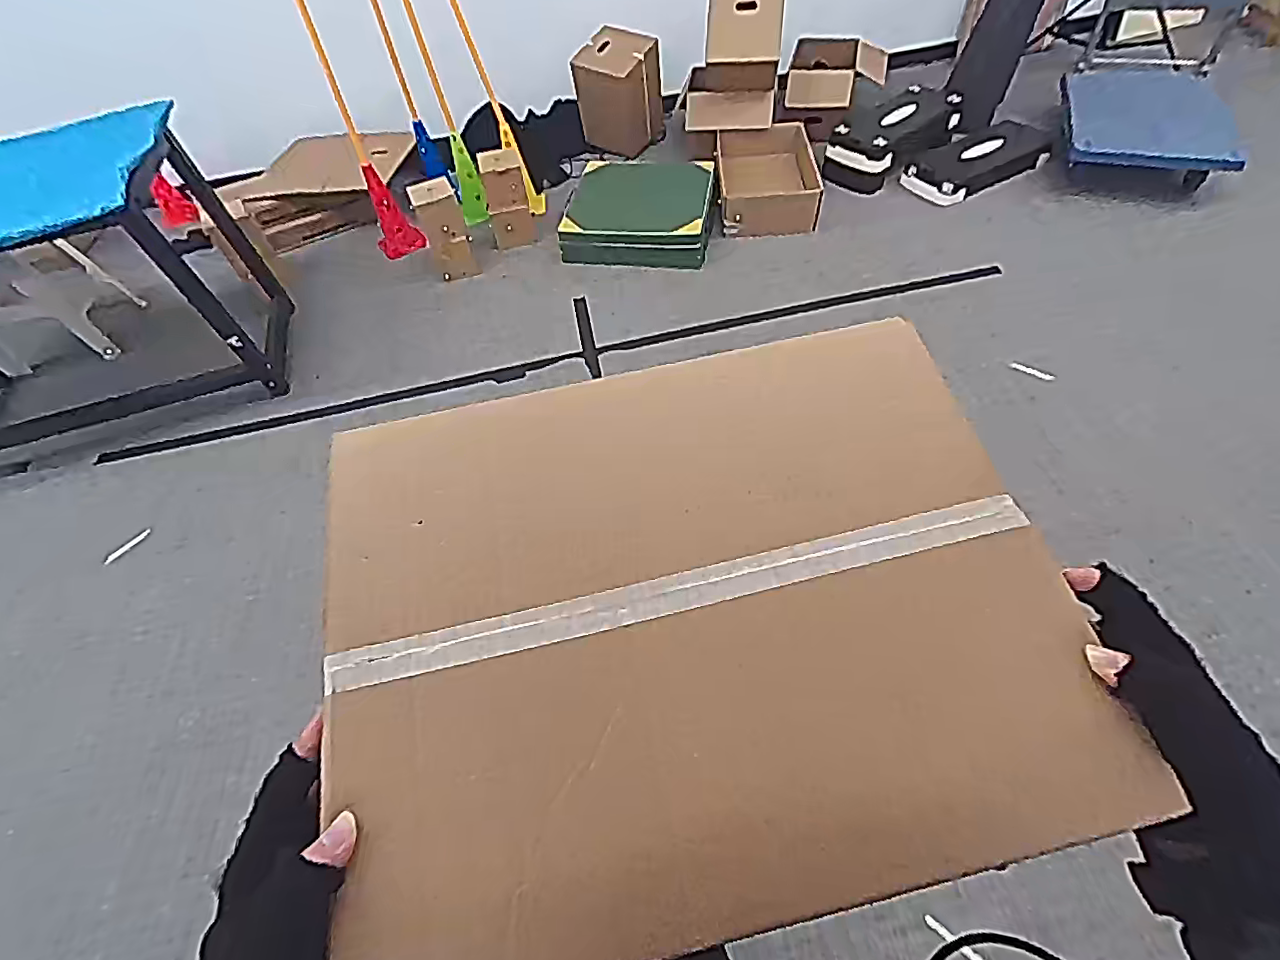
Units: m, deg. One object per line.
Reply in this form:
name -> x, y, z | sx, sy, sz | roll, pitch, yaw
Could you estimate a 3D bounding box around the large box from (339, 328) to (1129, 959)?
large box -> 0.031, 0.129, 0.455 | 0.408, 0.320, 0.320 | -13, 64, -3
